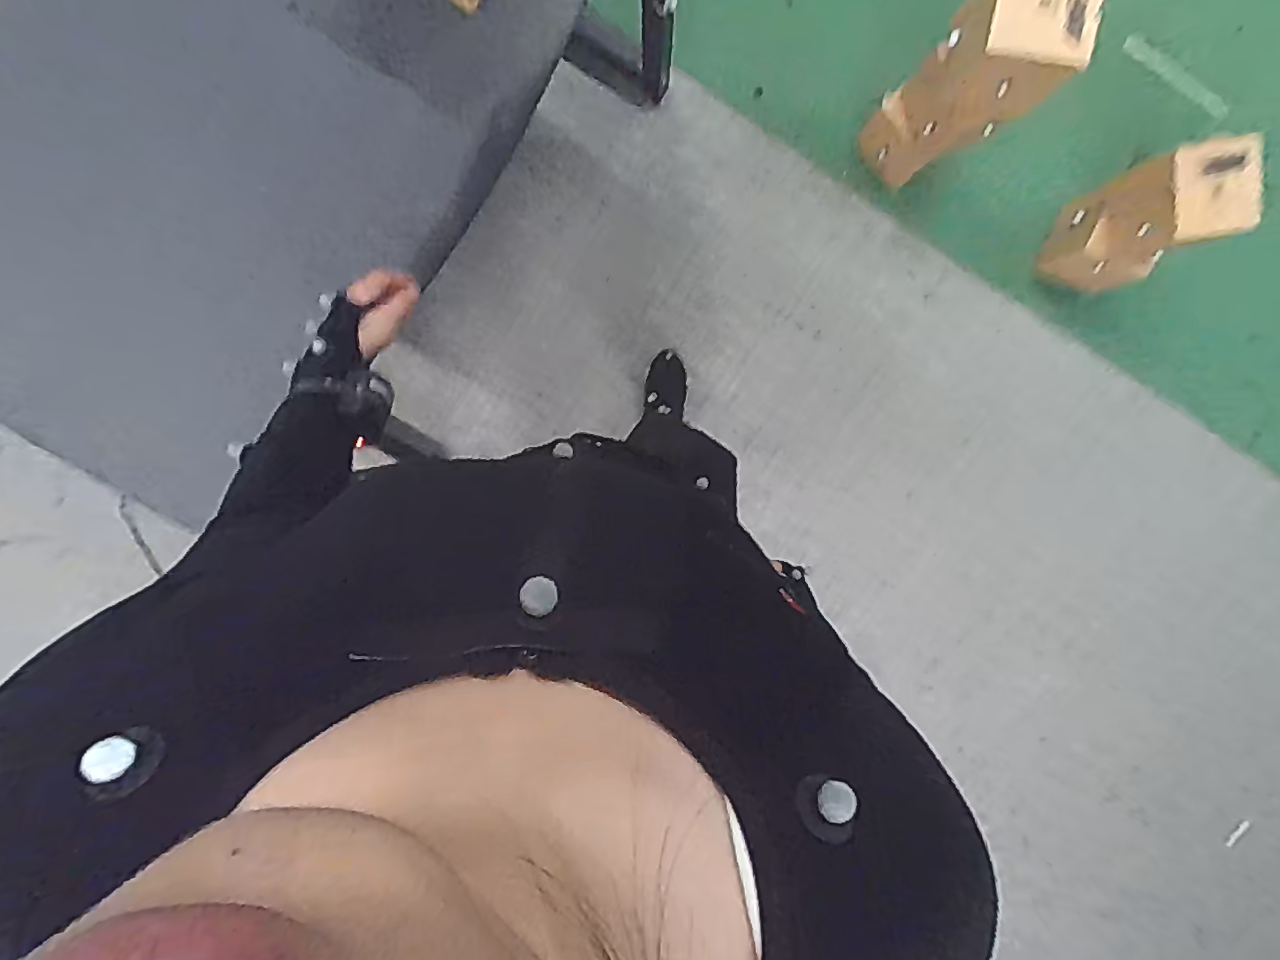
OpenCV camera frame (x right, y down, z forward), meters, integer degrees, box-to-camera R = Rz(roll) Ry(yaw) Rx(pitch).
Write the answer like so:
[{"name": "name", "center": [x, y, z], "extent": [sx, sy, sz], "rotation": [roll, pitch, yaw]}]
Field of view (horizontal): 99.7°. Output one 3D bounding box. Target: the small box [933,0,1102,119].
[{"name": "small box", "center": [0.668, -0.782, 0.968], "extent": [0.179, 0.176, 0.168], "rotation": [9, 98, 0]}]

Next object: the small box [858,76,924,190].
[{"name": "small box", "center": [0.651, -0.838, 1.289], "extent": [0.179, 0.176, 0.168], "rotation": [-41, 96, 4]}]

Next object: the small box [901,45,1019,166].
[{"name": "small box", "center": [0.675, -0.797, 1.131], "extent": [0.179, 0.176, 0.168], "rotation": [-21, 98, 2]}]

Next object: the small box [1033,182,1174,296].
[{"name": "small box", "center": [1.119, -0.579, 1.322], "extent": [0.168, 0.176, 0.179], "rotation": [23, 95, -3]}]
